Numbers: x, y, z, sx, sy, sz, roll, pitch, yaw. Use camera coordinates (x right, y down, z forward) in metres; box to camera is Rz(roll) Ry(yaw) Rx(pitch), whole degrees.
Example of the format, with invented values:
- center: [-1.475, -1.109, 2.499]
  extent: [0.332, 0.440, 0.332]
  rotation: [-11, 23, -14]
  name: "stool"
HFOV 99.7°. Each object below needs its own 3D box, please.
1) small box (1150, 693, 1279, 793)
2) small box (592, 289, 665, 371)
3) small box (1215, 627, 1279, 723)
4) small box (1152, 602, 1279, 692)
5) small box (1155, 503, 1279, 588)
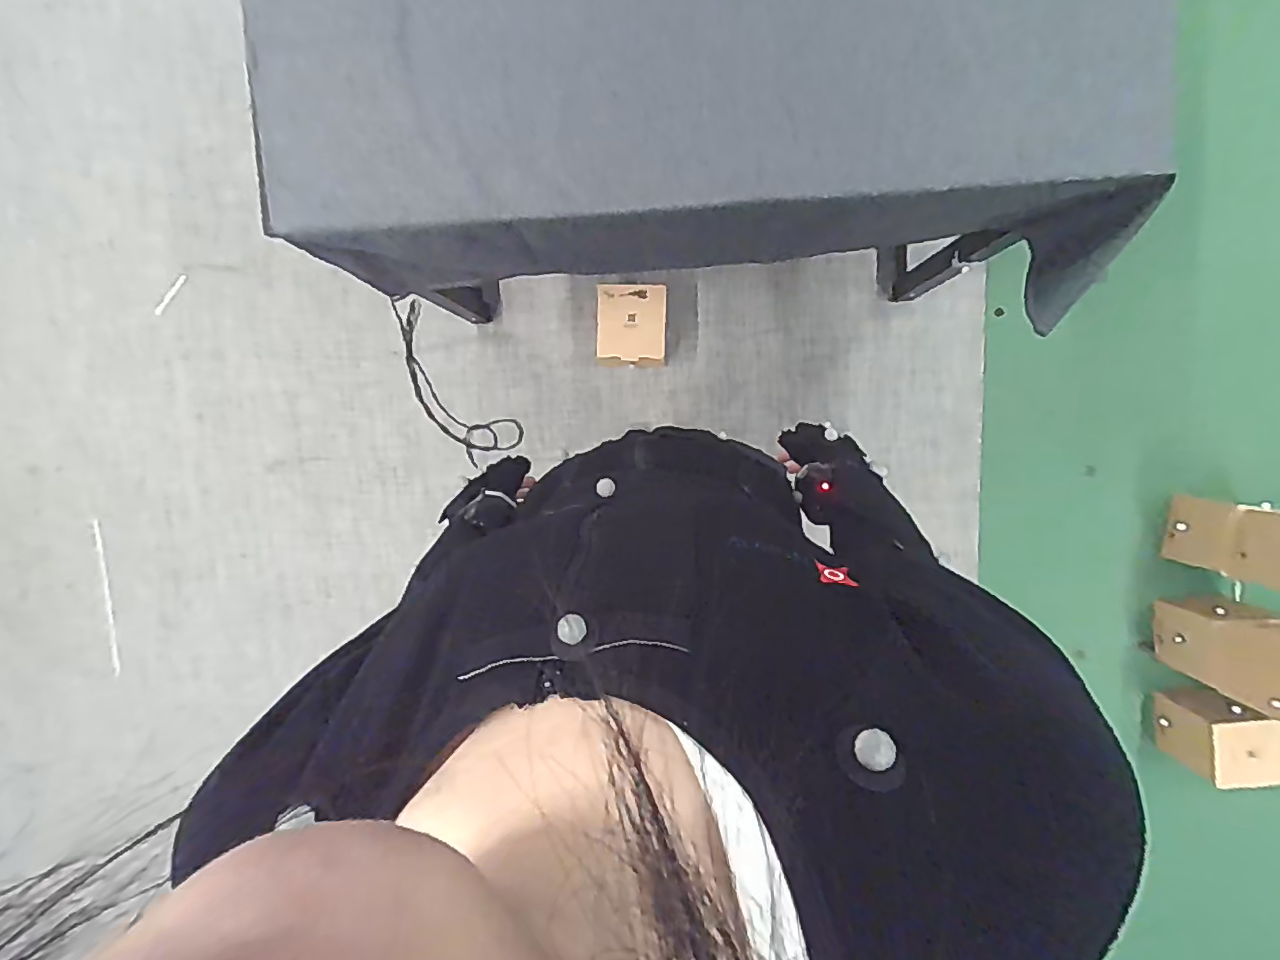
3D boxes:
- center: [1.461, 0.658, 1.372]
  extent: [0.179, 0.176, 0.168]
  rotation: [-7, 94, 3]
  name: "small box"
- center: [-0.025, -0.370, 1.361]
  extent: [0.168, 0.176, 0.179]
  rotation: [2, 95, 3]
  name: "small box"
- center: [1.435, 0.432, 1.191]
  extent: [0.168, 0.176, 0.179]
  rotation: [-1, 95, 3]
  name: "small box"
- center: [1.438, 0.412, 1.353]
  extent: [0.179, 0.176, 0.168]
  rotation: [-4, 94, 3]
  name: "small box"
- center: [1.447, 0.154, 1.332]
  extent: [0.179, 0.176, 0.168]
  rotation: [9, 94, 4]
  name: "small box"
